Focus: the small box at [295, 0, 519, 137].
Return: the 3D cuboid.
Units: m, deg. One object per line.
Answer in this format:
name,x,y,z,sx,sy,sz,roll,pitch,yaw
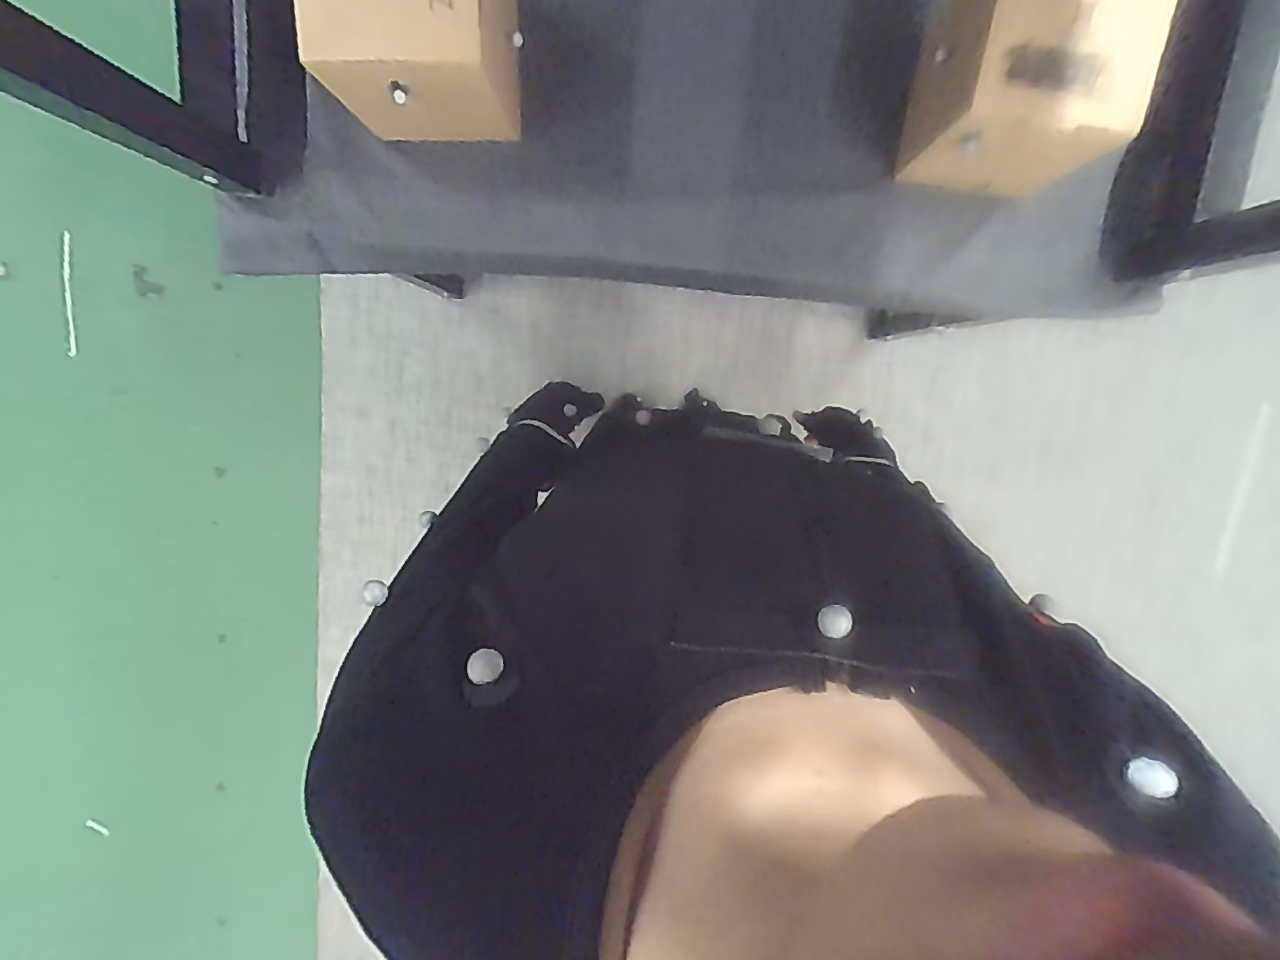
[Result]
small box,-0.236,-0.492,0.579,0.179,0.176,0.168,1,101,0
